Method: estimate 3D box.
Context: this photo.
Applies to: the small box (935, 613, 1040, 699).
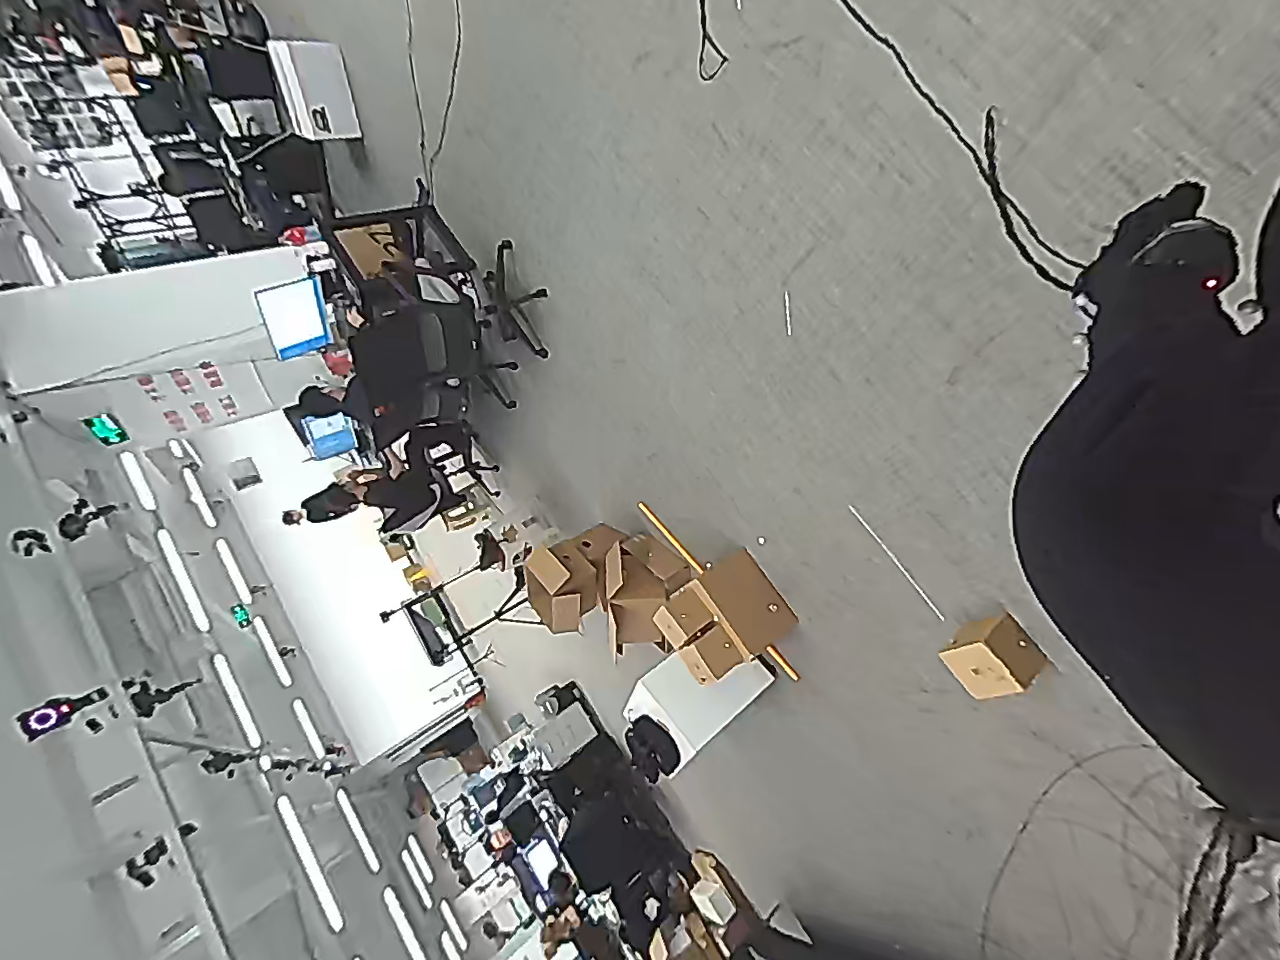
[{"bbox_3d":[1.046,0.528,1.625,0.168,0.176,0.179,53,148,14],"label":"small box"}]
